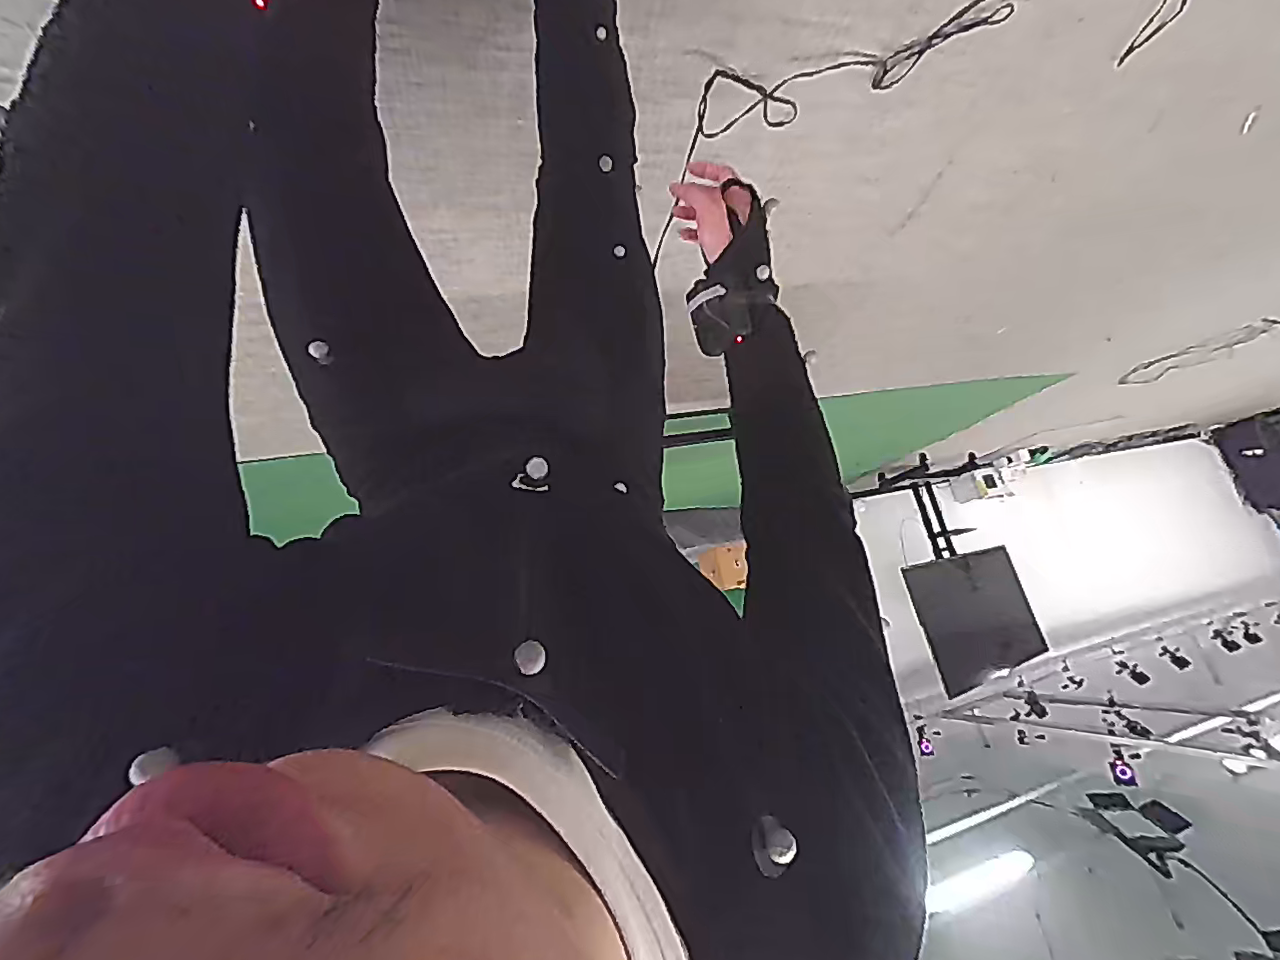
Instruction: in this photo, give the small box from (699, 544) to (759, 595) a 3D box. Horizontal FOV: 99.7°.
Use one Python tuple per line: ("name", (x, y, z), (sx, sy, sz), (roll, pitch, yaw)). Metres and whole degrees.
("small box", (0.366, 0.372, 2.266), (0.168, 0.176, 0.179), (-9, 165, -21))
